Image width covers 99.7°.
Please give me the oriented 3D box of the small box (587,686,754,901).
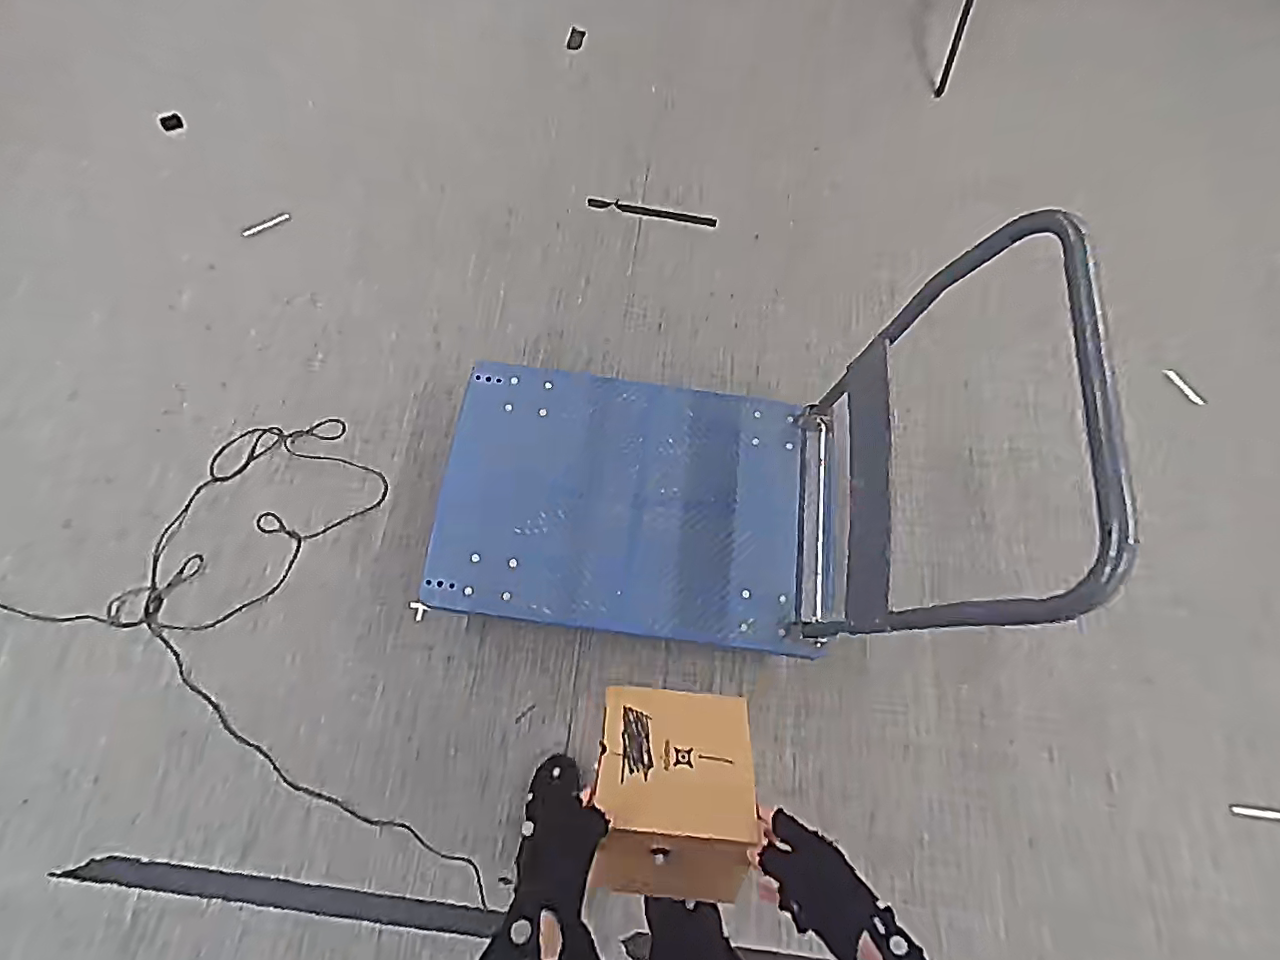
[{"bbox_3d":[0.032,0.382,0.664,0.179,0.176,0.168,6,33,1],"label":"small box"}]
